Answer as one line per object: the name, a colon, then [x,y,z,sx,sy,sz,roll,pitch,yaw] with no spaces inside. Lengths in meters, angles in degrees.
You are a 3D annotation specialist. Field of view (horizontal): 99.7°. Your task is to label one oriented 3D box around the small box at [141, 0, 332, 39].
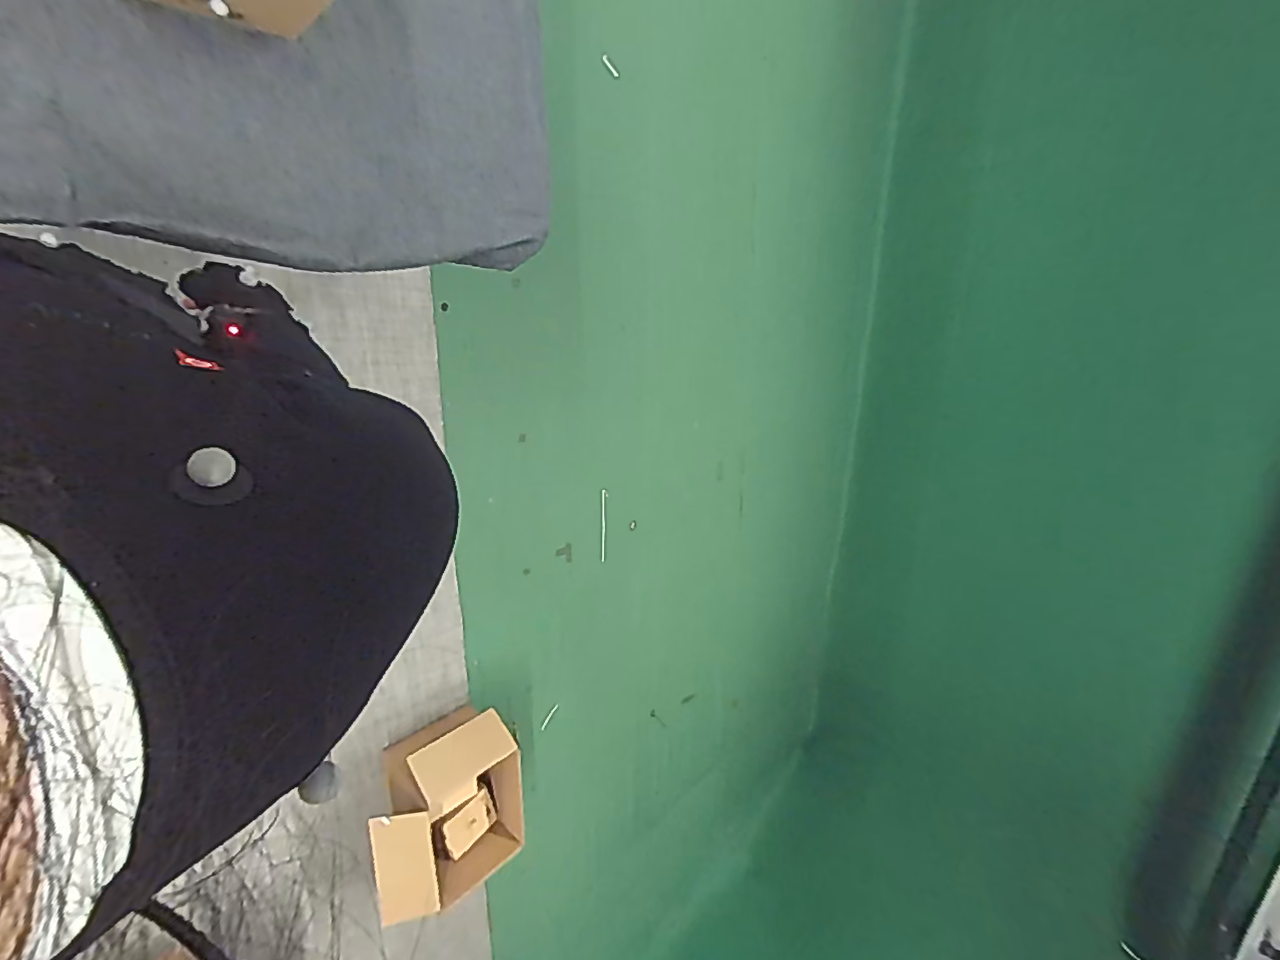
small box: [-0.393,-0.544,0.481,0.168,0.176,0.179,-19,116,-42]
